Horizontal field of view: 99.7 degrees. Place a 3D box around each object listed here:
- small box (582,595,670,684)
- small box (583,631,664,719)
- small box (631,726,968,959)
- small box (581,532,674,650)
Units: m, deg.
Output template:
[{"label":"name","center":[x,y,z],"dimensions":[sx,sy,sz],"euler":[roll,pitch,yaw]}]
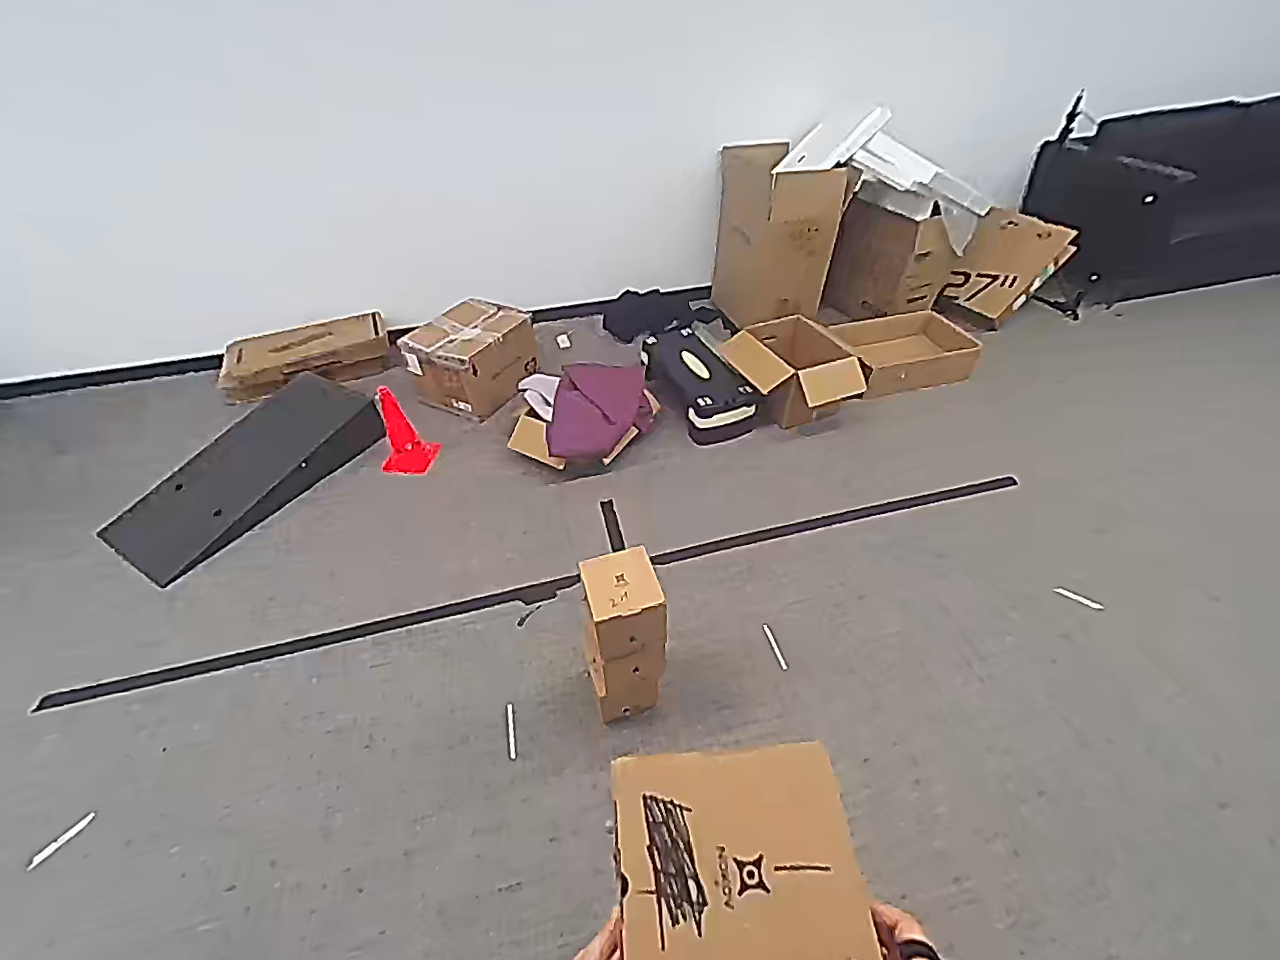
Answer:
[{"label":"small box","center":[-0.032,0.373,1.320],"dimensions":[0.168,0.176,0.179],"euler":[-17,46,-15]},{"label":"small box","center":[-0.046,0.494,1.431],"dimensions":[0.168,0.176,0.179],"euler":[-16,47,-14]},{"label":"small box","center":[0.088,0.284,0.374],"dimensions":[0.179,0.176,0.168],"euler":[-4,52,-4]},{"label":"small box","center":[-0.030,0.248,1.210],"dimensions":[0.168,0.176,0.179],"euler":[-14,45,-11]}]
